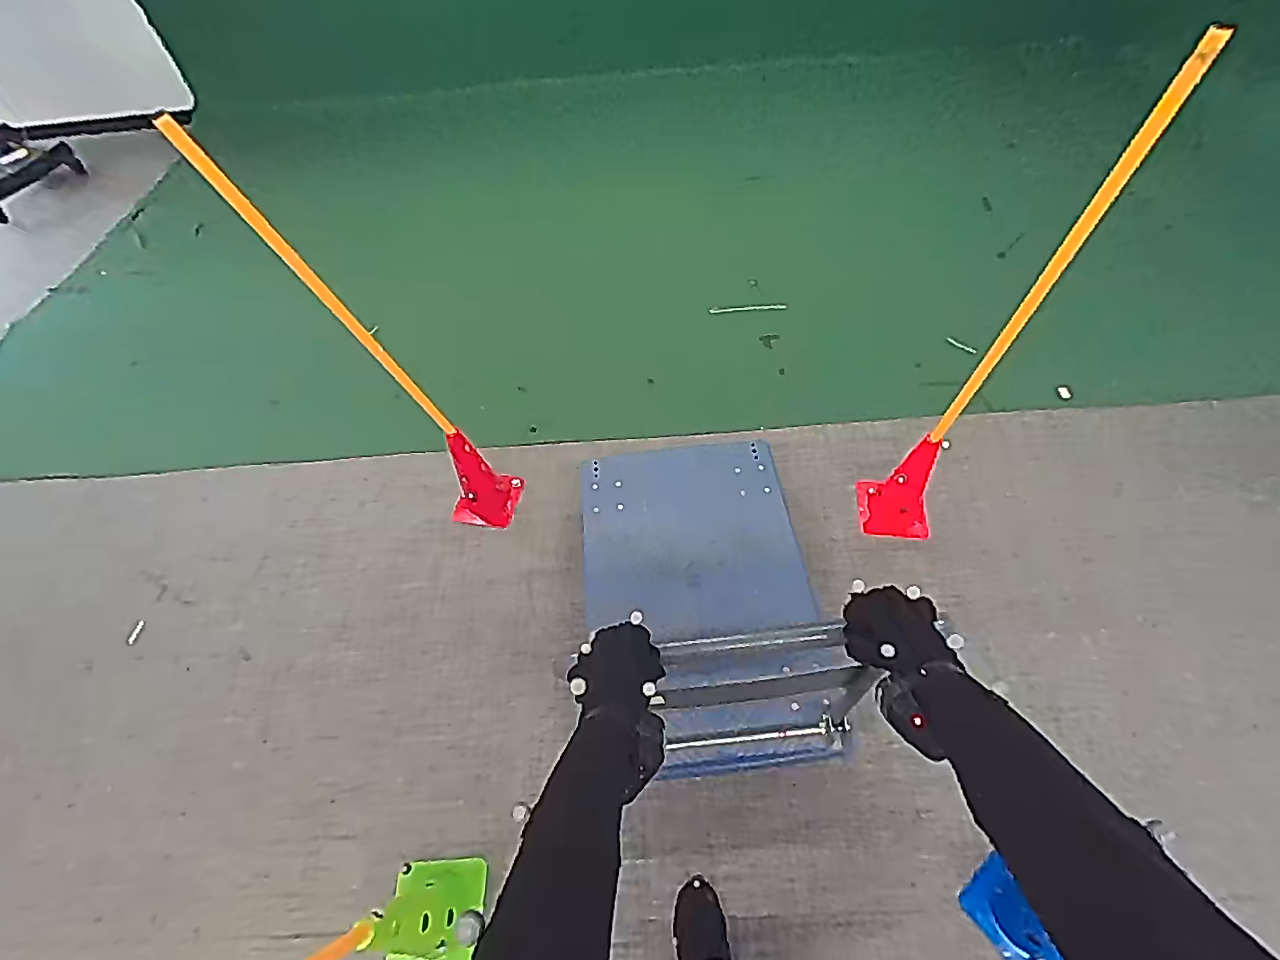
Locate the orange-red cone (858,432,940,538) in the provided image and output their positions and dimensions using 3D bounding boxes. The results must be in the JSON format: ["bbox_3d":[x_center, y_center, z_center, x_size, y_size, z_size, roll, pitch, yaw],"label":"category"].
[{"bbox_3d":[0.766,-0.008,1.529,0.198,0.360,0.199,5,57,9],"label":"orange-red cone"}]
